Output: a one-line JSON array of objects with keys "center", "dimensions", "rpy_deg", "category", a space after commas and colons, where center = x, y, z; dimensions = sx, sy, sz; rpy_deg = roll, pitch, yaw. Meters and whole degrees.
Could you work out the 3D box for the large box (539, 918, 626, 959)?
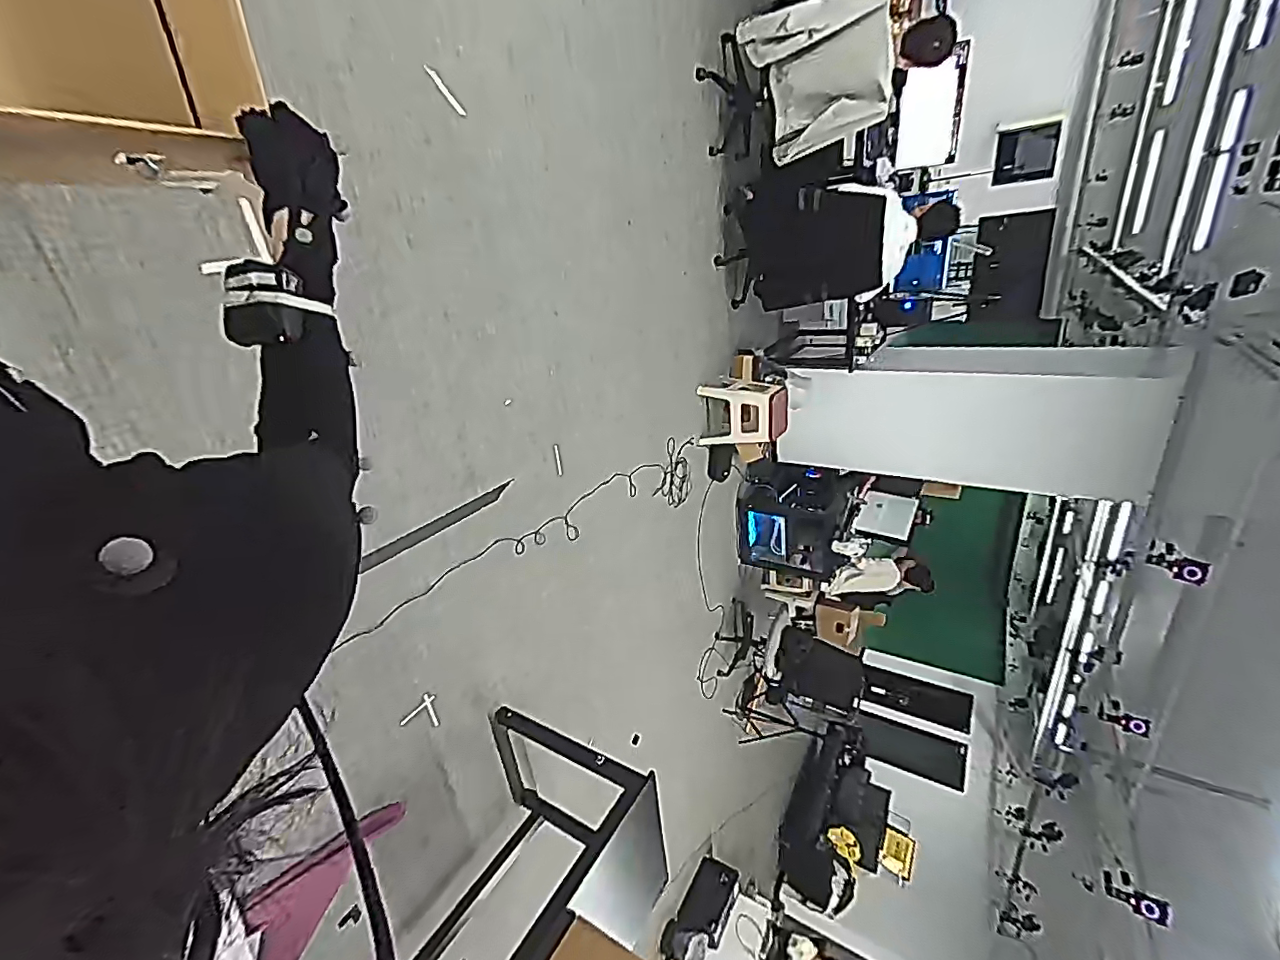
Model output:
[{"center": [-0.175, 1.487, 1.395], "dimensions": [0.408, 0.320, 0.320], "rpy_deg": [-38, 128, -48], "category": "large box"}]
